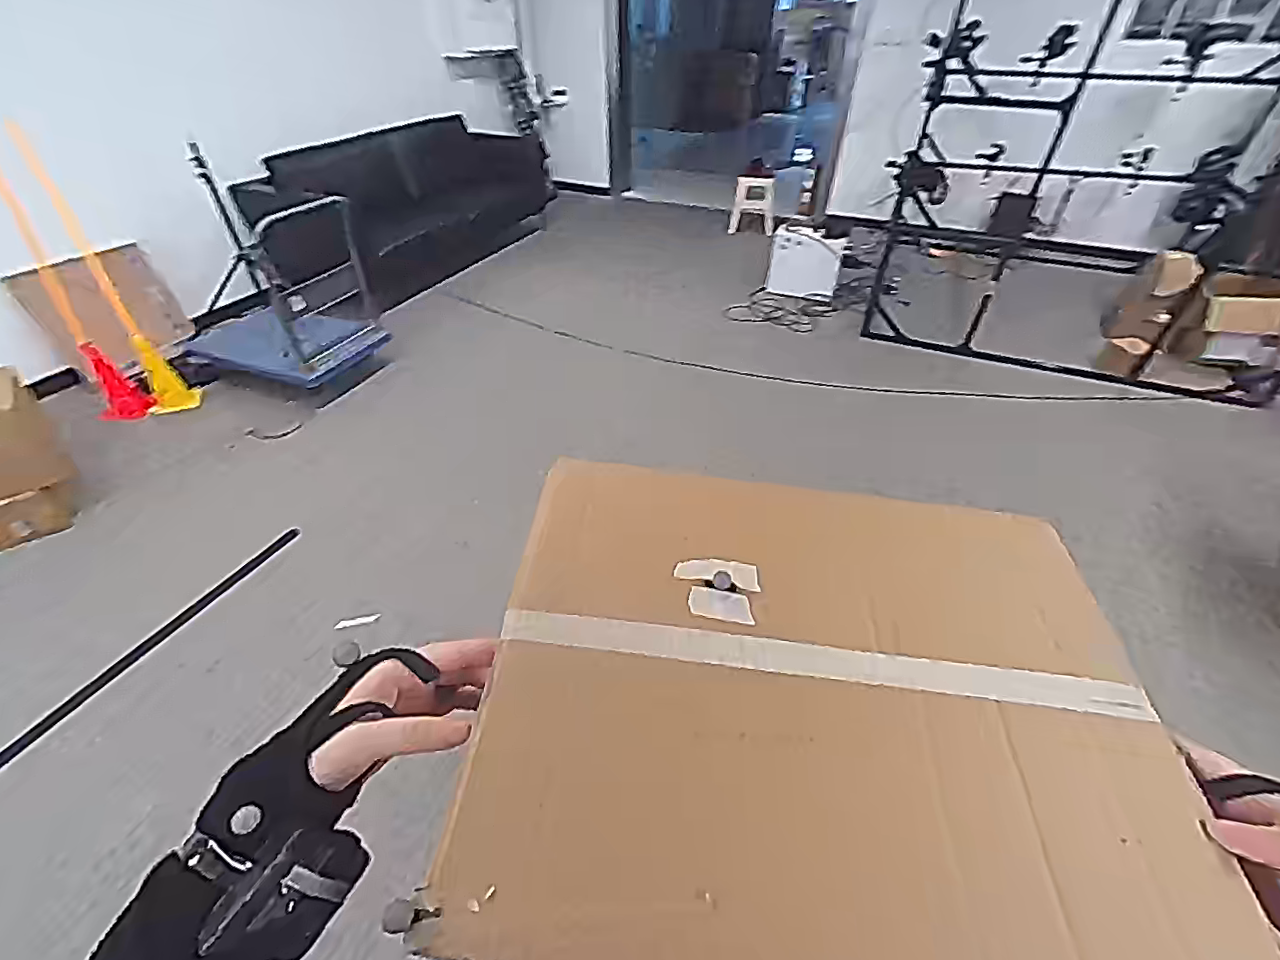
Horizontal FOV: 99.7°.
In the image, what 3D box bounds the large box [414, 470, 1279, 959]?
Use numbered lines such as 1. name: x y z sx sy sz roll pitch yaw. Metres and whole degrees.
1. large box: 0.104 0.220 0.441 0.408 0.320 0.320 6 47 2
